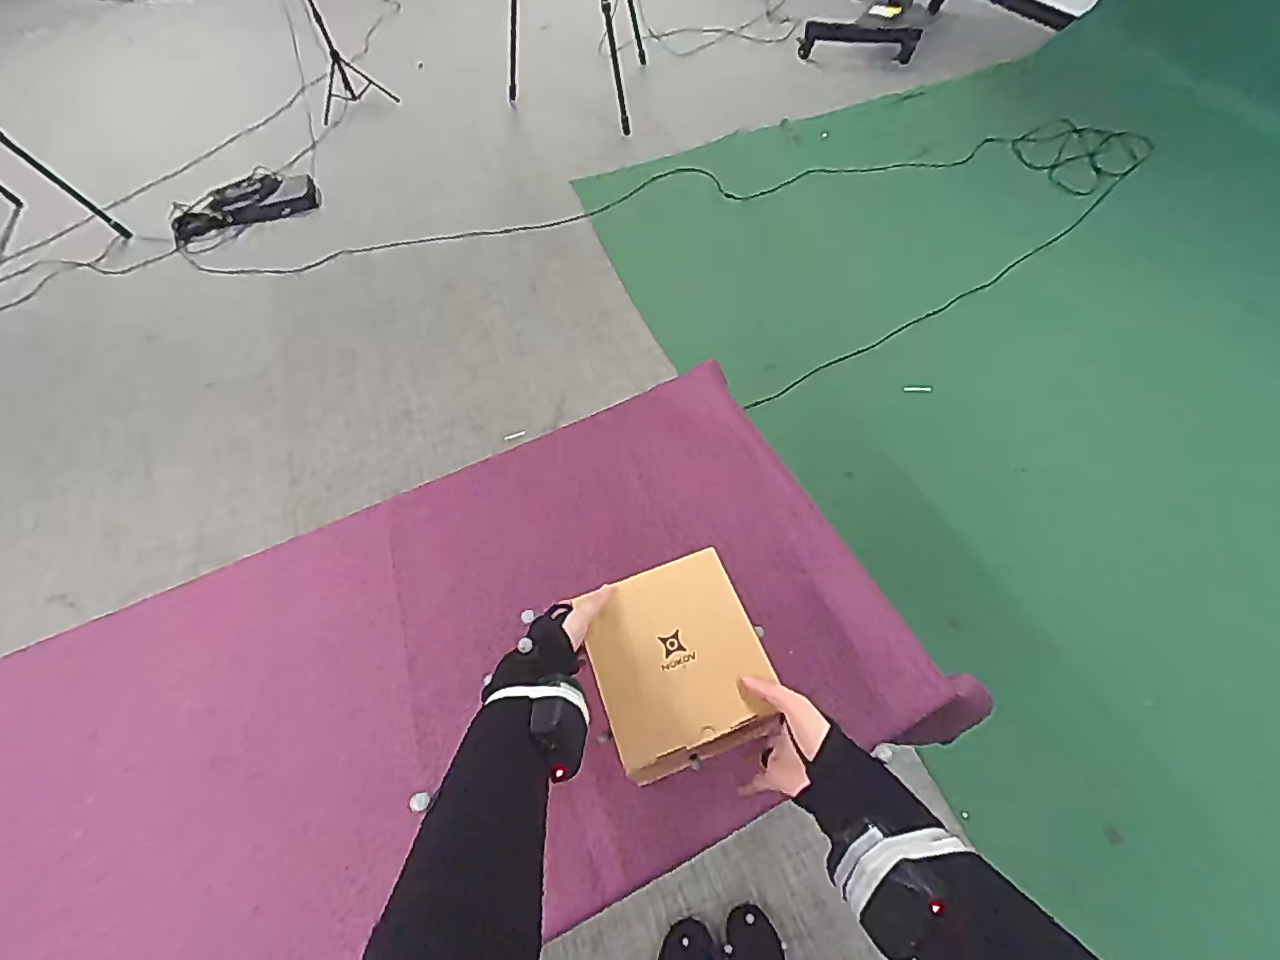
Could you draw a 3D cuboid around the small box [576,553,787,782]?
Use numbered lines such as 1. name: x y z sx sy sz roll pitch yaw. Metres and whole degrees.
1. small box: 0.039 0.214 0.606 0.168 0.176 0.179 -19 58 -7
